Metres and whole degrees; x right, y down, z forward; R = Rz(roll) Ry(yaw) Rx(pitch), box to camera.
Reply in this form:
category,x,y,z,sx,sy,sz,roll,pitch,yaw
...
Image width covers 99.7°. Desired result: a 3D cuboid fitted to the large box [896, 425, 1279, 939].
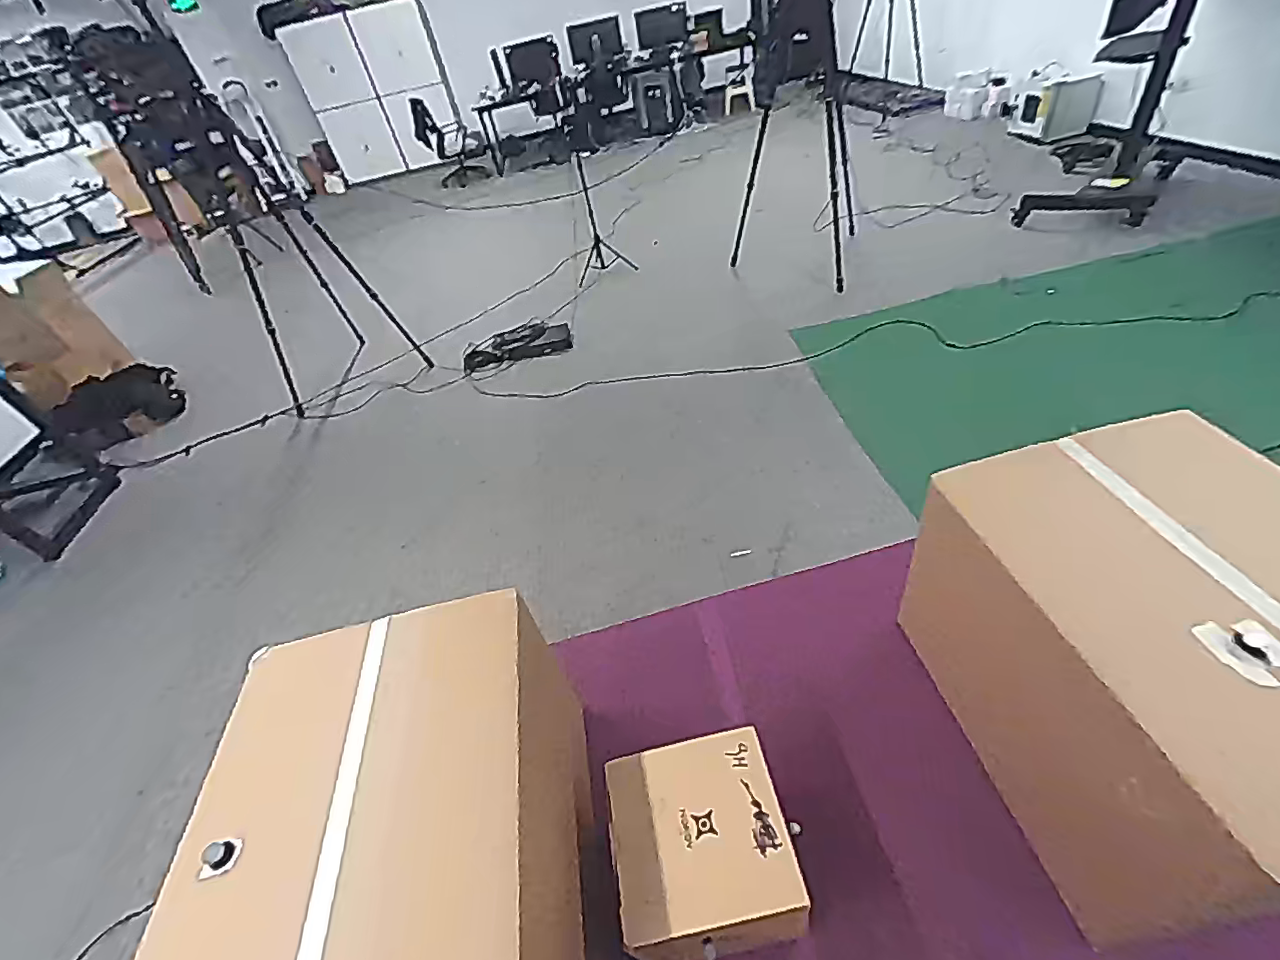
category,x,y,z,sx,sy,sz,roll,pitch,yaw
large box,0.549,0.202,0.598,0.320,0.320,0.408,-14,43,1
